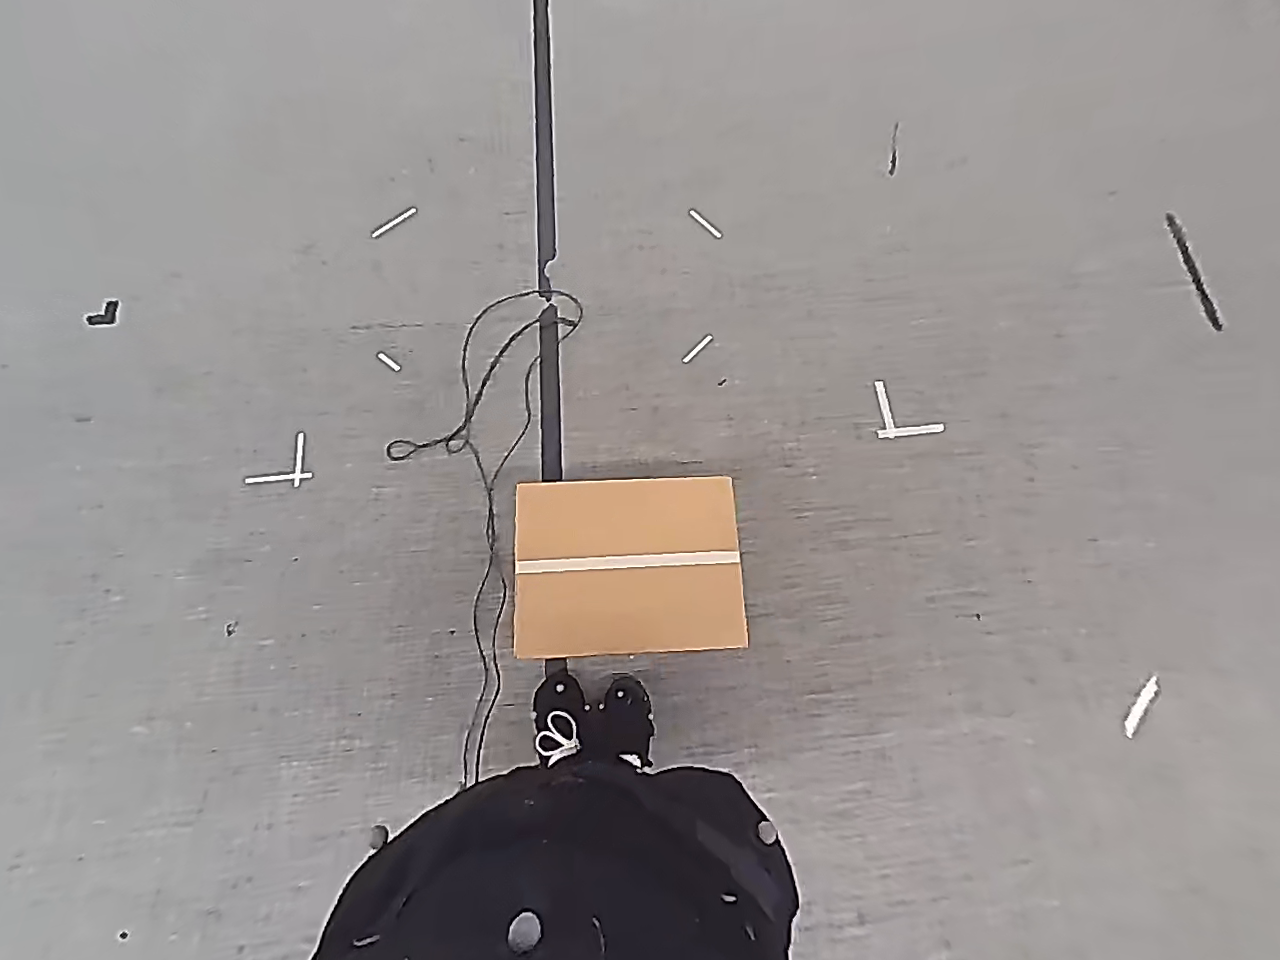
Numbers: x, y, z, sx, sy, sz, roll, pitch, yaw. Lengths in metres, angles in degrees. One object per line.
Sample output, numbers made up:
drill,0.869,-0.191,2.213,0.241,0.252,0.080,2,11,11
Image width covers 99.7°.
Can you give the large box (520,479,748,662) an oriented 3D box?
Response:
large box,-0.023,0.195,1.118,0.408,0.320,0.320,-2,75,-3
